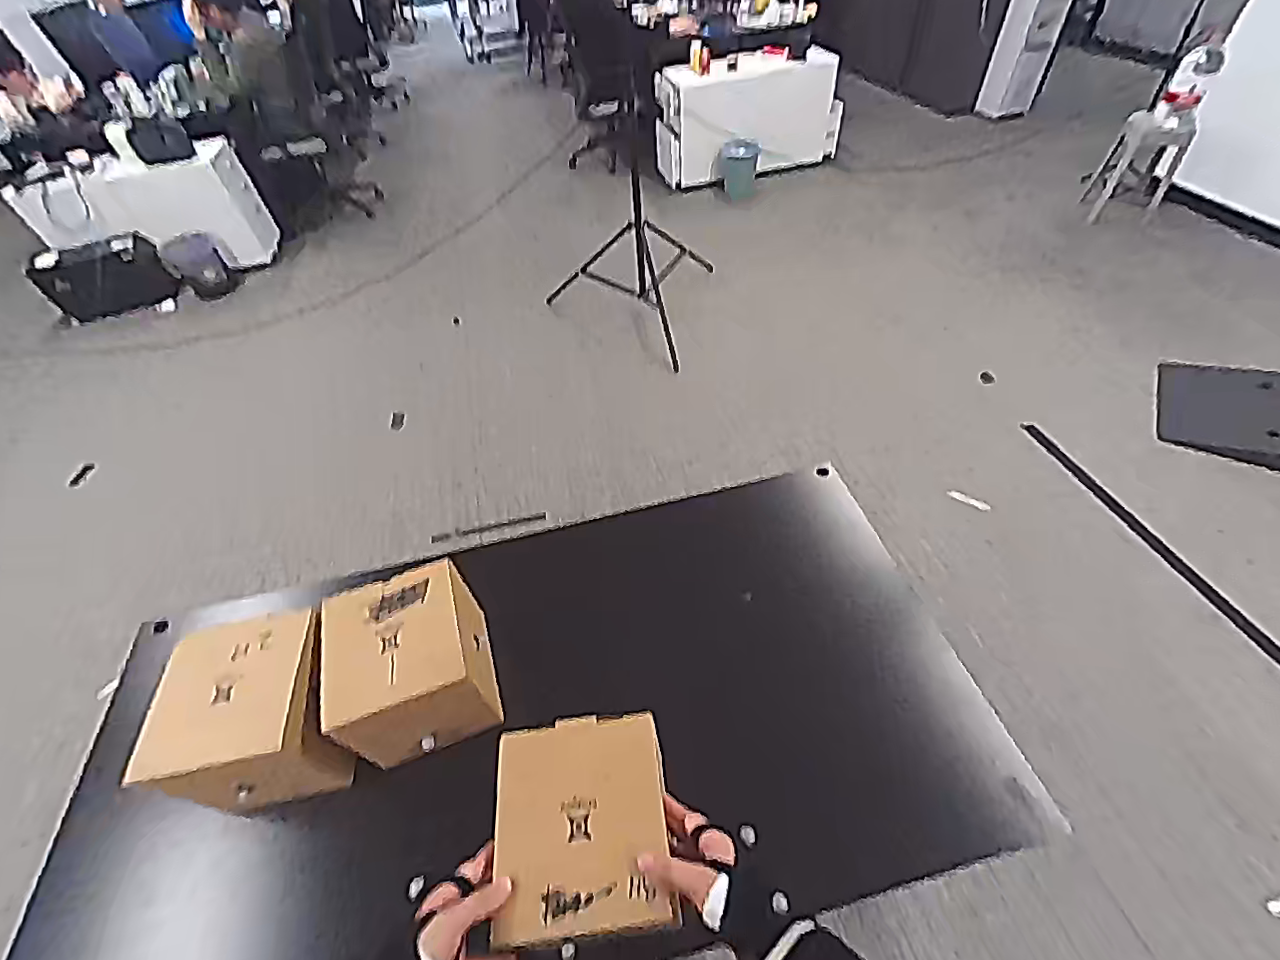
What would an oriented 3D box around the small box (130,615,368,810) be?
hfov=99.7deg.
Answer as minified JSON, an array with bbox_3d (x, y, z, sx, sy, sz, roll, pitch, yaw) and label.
[{"bbox_3d":[-0.475,0.304,0.696,0.168,0.176,0.179,-11,48,-5],"label":"small box"}]

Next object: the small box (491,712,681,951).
[{"bbox_3d":[-0.050,0.379,0.582,0.168,0.176,0.179,-9,47,-1],"label":"small box"}]
